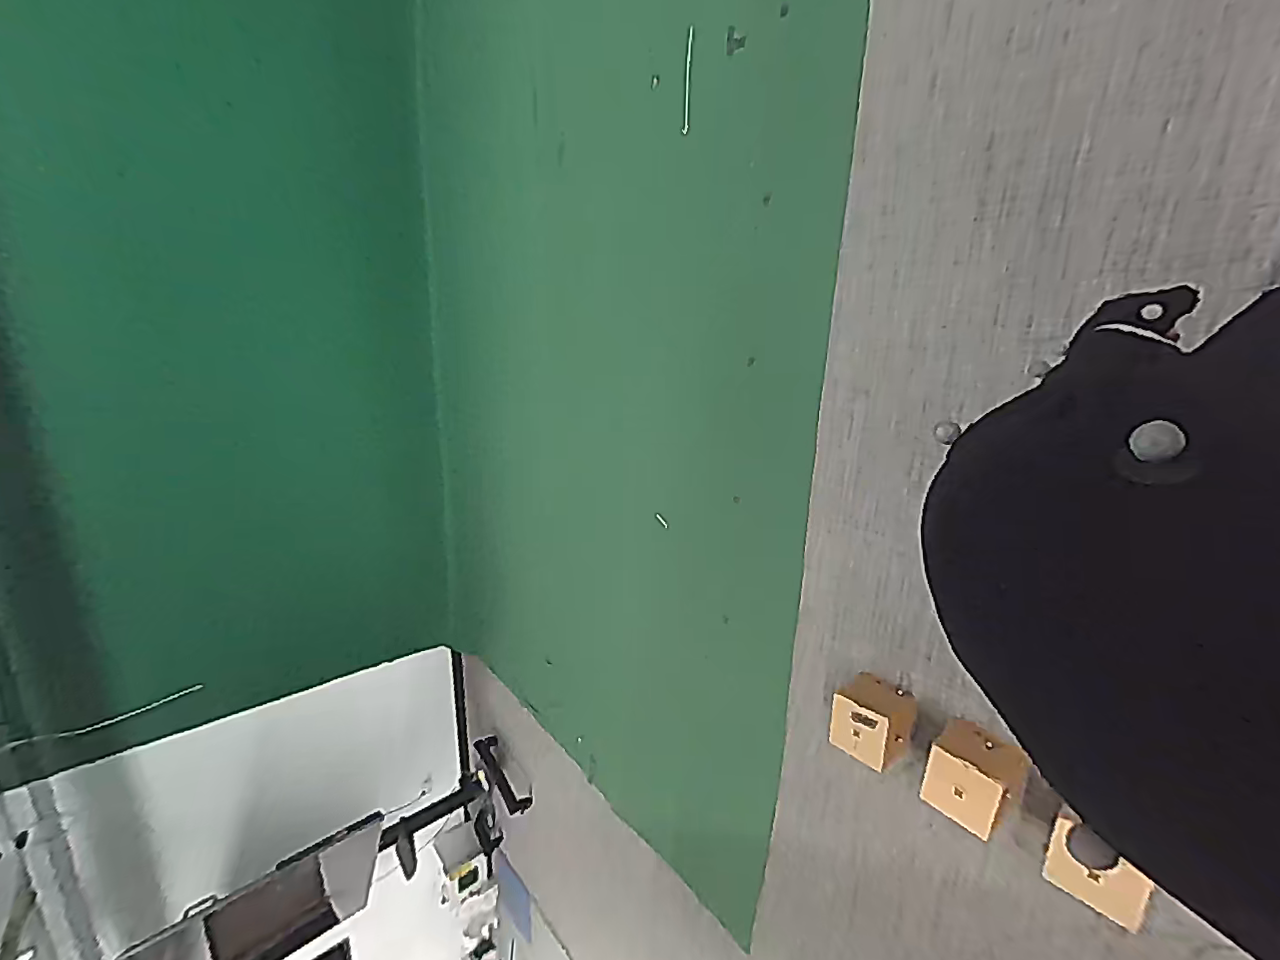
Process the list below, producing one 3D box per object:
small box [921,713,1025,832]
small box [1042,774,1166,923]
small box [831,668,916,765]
[{"bbox_3d":[0.865,0.749,1.403,0.168,0.176,0.179,22,114,47],"label":"small box"},{"bbox_3d":[1.034,0.808,1.203,0.168,0.176,0.179,18,112,47],"label":"small box"},{"bbox_3d":[0.694,0.688,1.601,0.168,0.176,0.179,17,112,48],"label":"small box"}]
